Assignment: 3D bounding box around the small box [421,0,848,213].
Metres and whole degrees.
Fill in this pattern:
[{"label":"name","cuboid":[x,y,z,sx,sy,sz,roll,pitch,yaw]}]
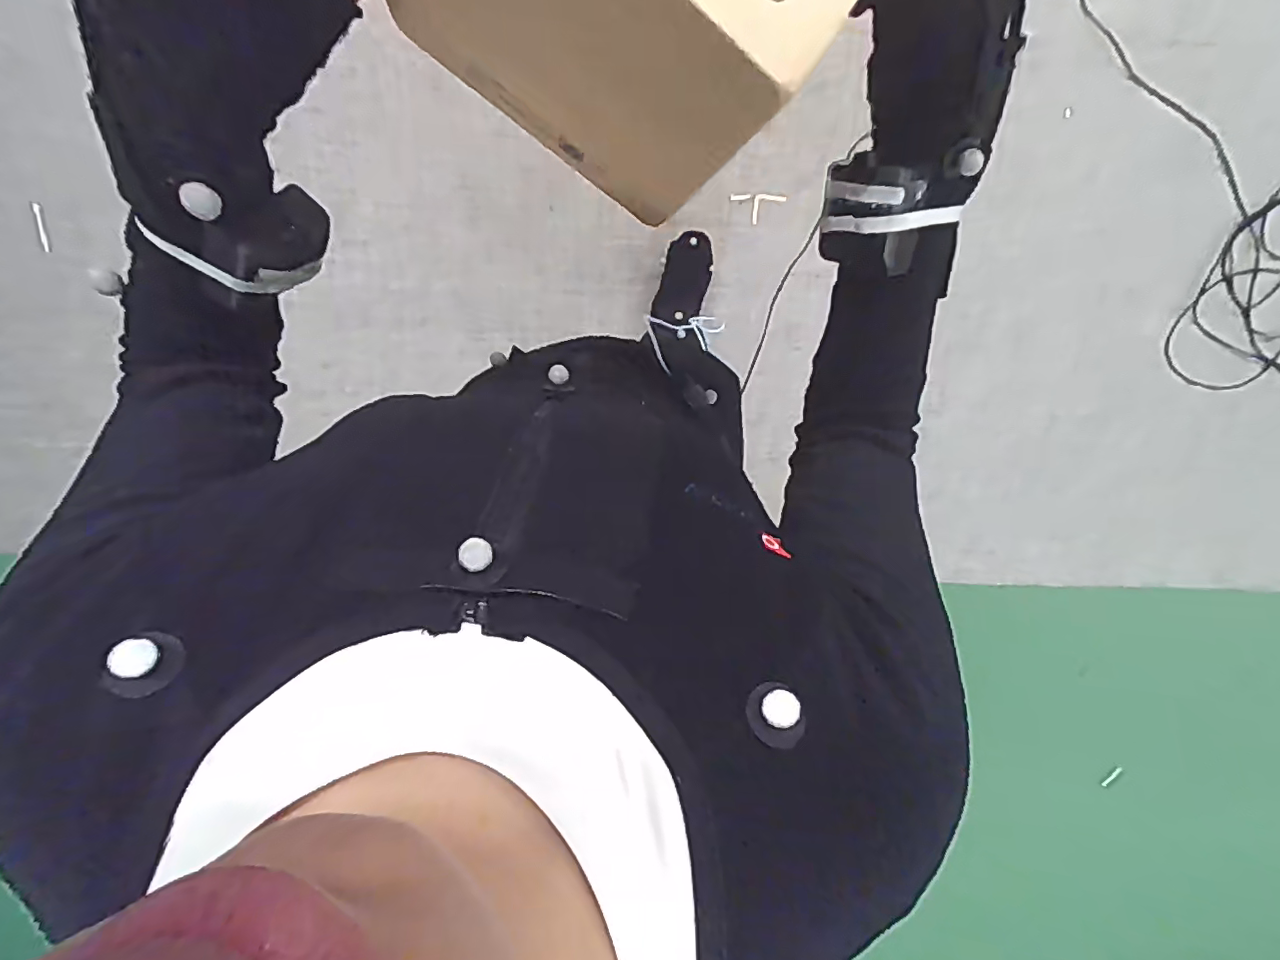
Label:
[{"label":"small box","cuboid":[0.010,-0.249,0.217,0.168,0.176,0.179,33,93,-16]}]
